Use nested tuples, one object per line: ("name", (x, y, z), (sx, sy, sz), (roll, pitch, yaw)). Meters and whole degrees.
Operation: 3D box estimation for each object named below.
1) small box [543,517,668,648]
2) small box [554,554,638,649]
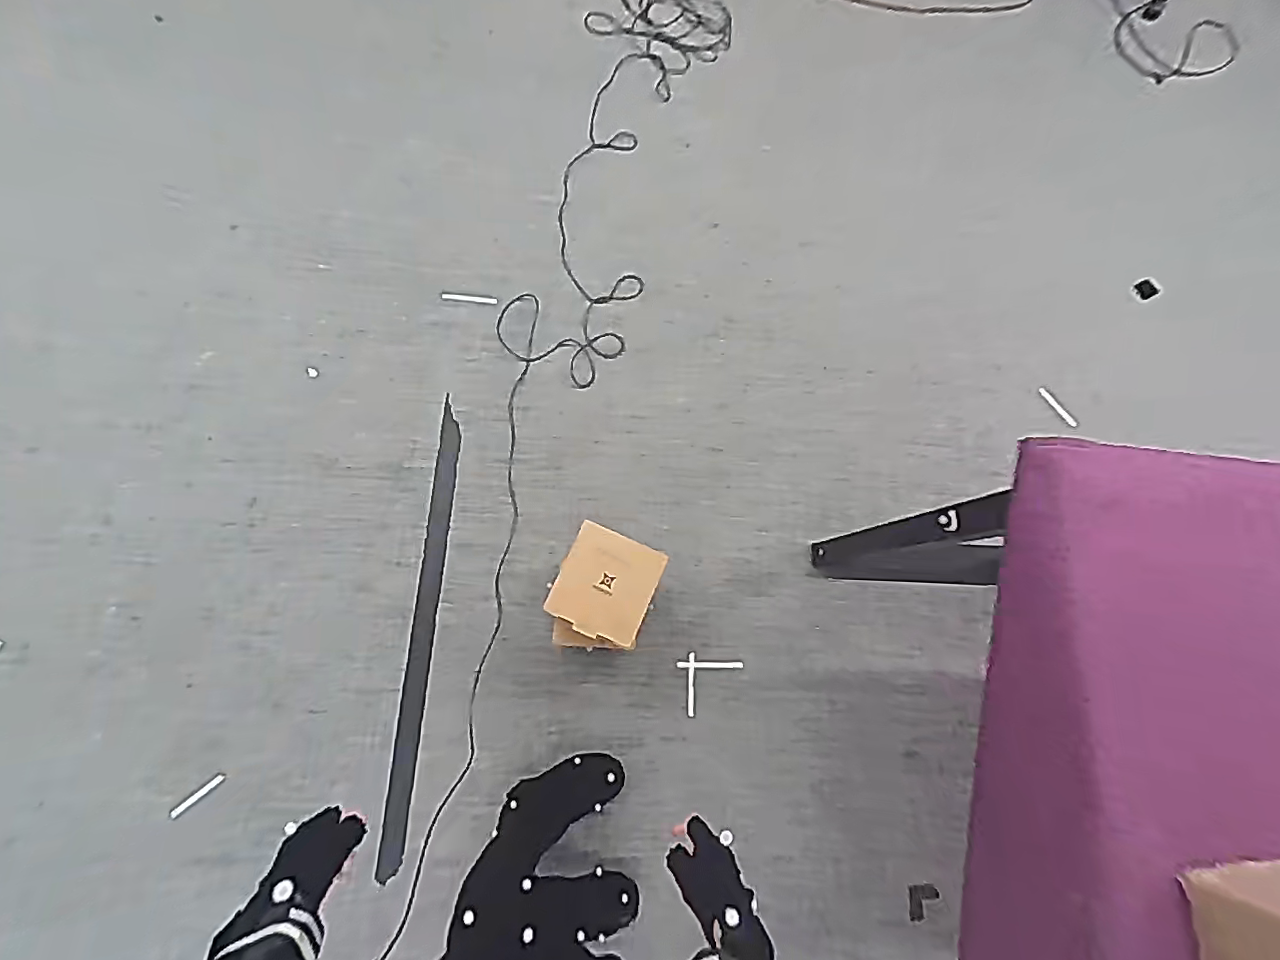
("small box", (-0.064, 0.193, 1.004), (0.168, 0.176, 0.179), (24, 74, -1))
("small box", (-0.090, 0.260, 1.153), (0.168, 0.176, 0.179), (5, 76, -5))
